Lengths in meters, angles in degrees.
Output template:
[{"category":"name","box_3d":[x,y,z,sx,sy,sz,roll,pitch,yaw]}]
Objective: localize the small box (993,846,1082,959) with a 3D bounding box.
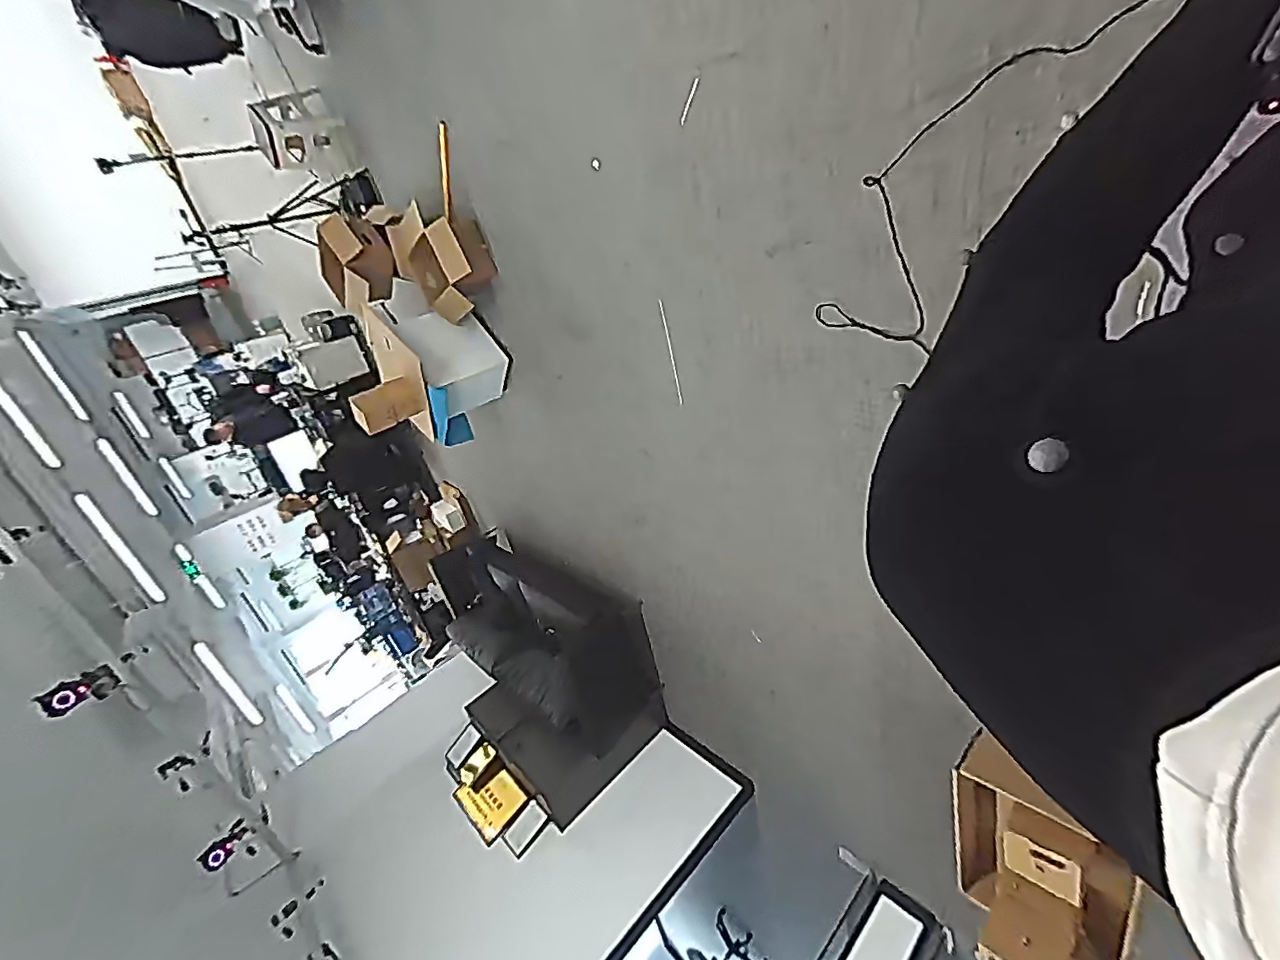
[{"category":"small box","box_3d":[1.158,1.221,1.569,0.179,0.176,0.168,9,125,50]}]
